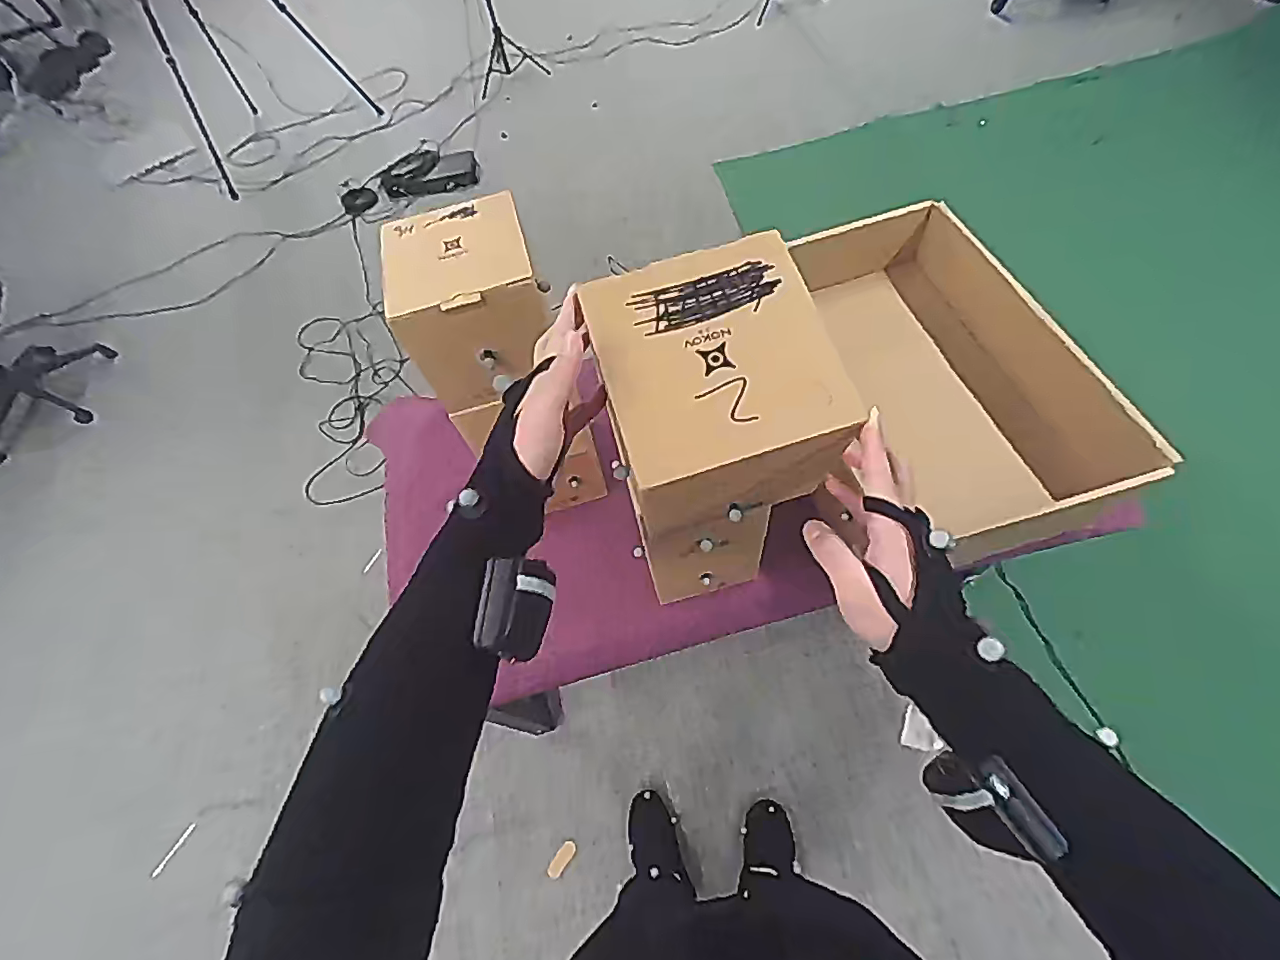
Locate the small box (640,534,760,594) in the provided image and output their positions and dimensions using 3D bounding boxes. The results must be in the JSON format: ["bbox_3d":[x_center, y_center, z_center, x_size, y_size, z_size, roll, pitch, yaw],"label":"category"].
[{"bbox_3d":[0.081,0.068,0.857,0.168,0.176,0.179,-15,59,-1],"label":"small box"}]

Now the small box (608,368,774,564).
[{"bbox_3d":[0.063,-0.013,0.716,0.168,0.176,0.179,-15,60,0],"label":"small box"}]

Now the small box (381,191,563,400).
[{"bbox_3d":[-0.205,-0.222,0.686,0.168,0.176,0.179,-16,60,-2],"label":"small box"}]

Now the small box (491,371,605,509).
[{"bbox_3d":[-0.168,-0.063,0.968,0.168,0.176,0.179,-15,60,-2],"label":"small box"}]

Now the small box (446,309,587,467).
[{"bbox_3d":[-0.186,-0.137,0.825,0.168,0.176,0.179,-16,60,-2],"label":"small box"}]
